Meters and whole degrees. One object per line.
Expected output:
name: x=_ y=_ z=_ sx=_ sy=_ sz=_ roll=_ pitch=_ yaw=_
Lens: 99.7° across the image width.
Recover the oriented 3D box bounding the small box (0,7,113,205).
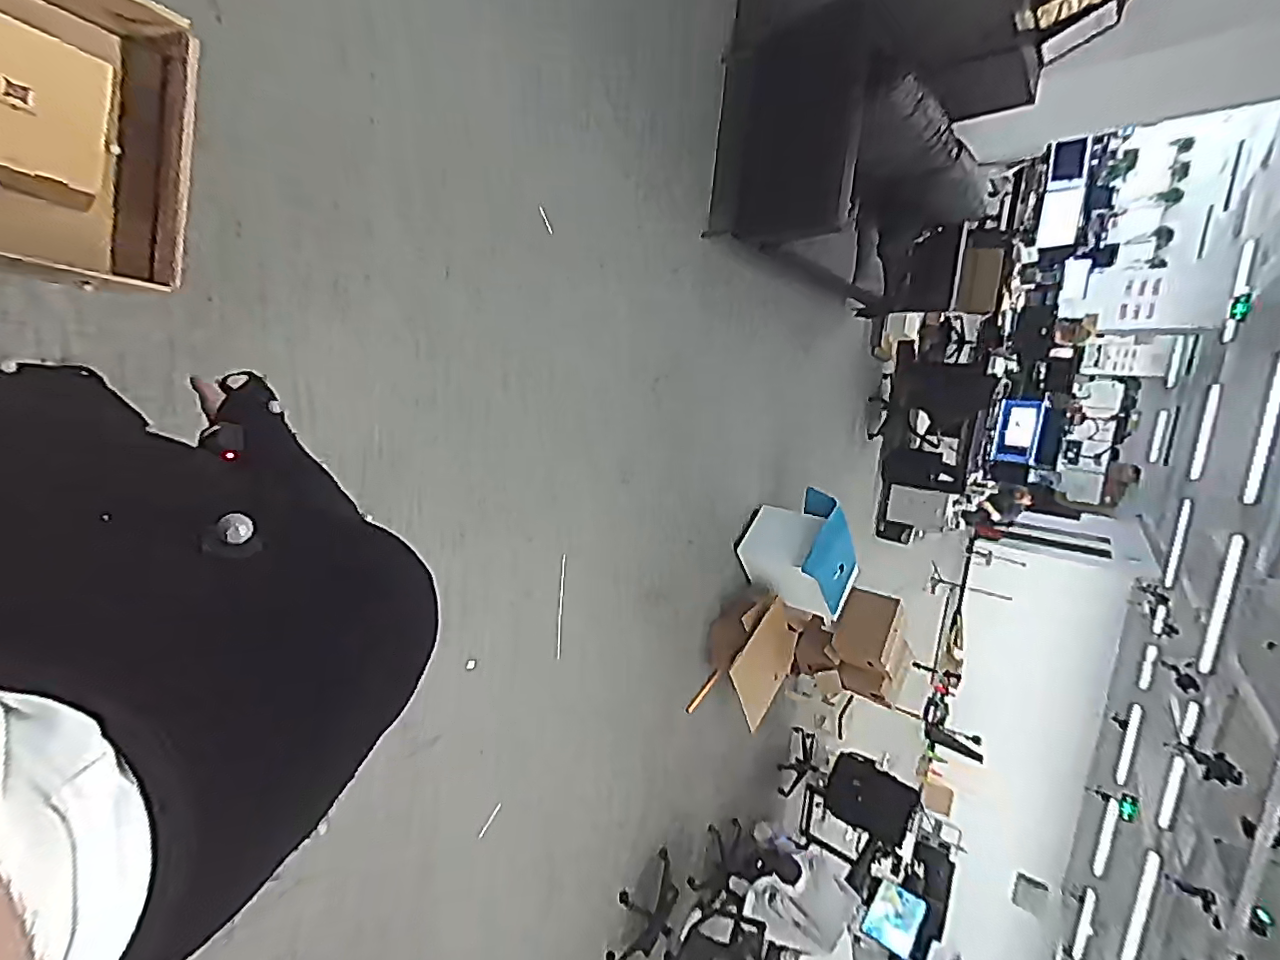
small box: x=-0.829 y=-0.493 z=0.713 sx=0.168 sy=0.176 sz=0.179 roll=5 pitch=97 yaw=-50
